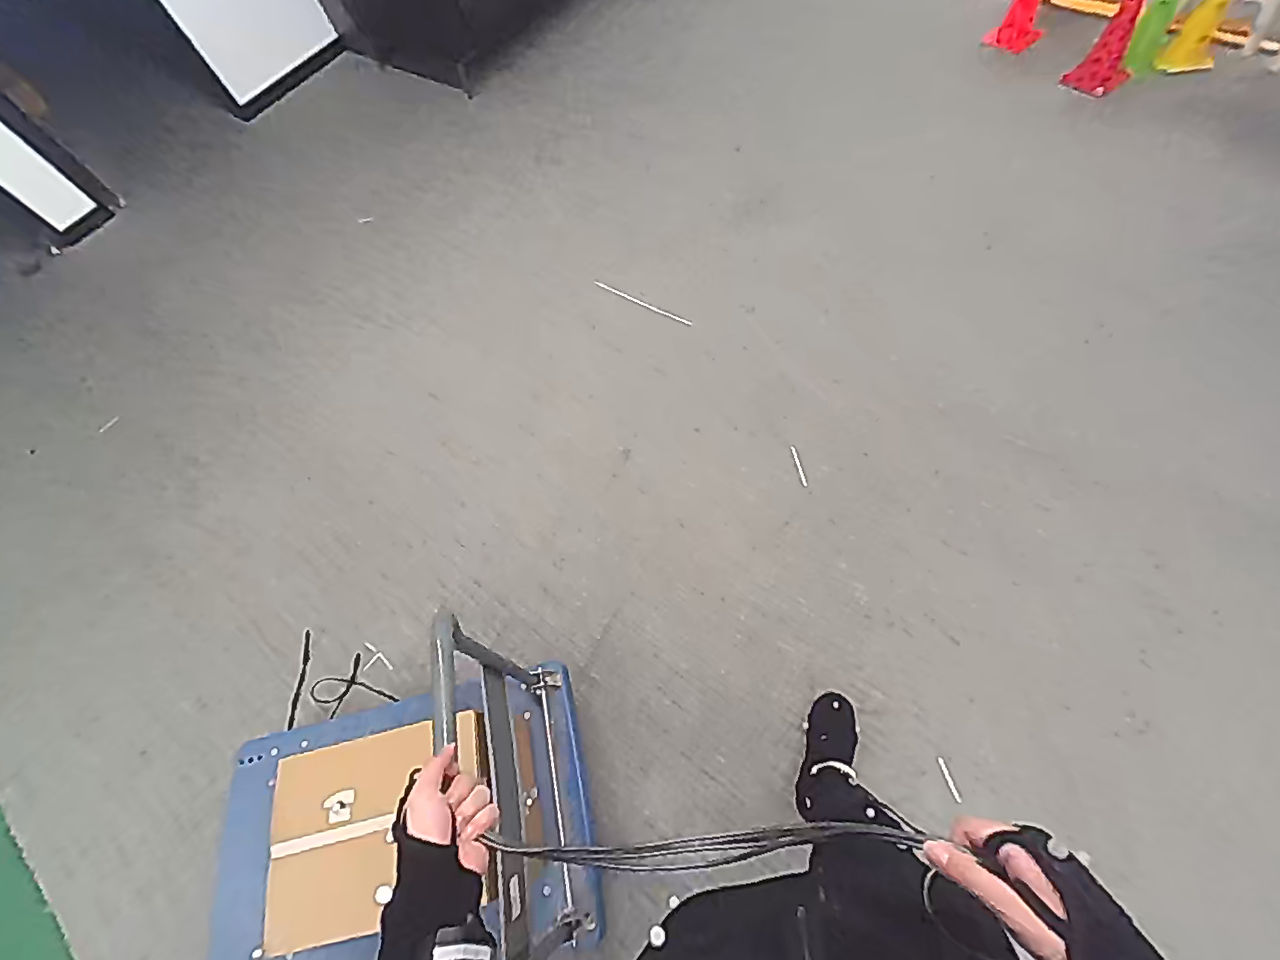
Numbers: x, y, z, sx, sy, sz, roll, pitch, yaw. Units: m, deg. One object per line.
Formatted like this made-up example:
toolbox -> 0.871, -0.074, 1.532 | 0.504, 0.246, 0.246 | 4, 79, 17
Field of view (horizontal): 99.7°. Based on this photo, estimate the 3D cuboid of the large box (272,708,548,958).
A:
large box -> -0.443, 0.687, 1.107 | 0.408, 0.320, 0.320 | -16, 61, 3
